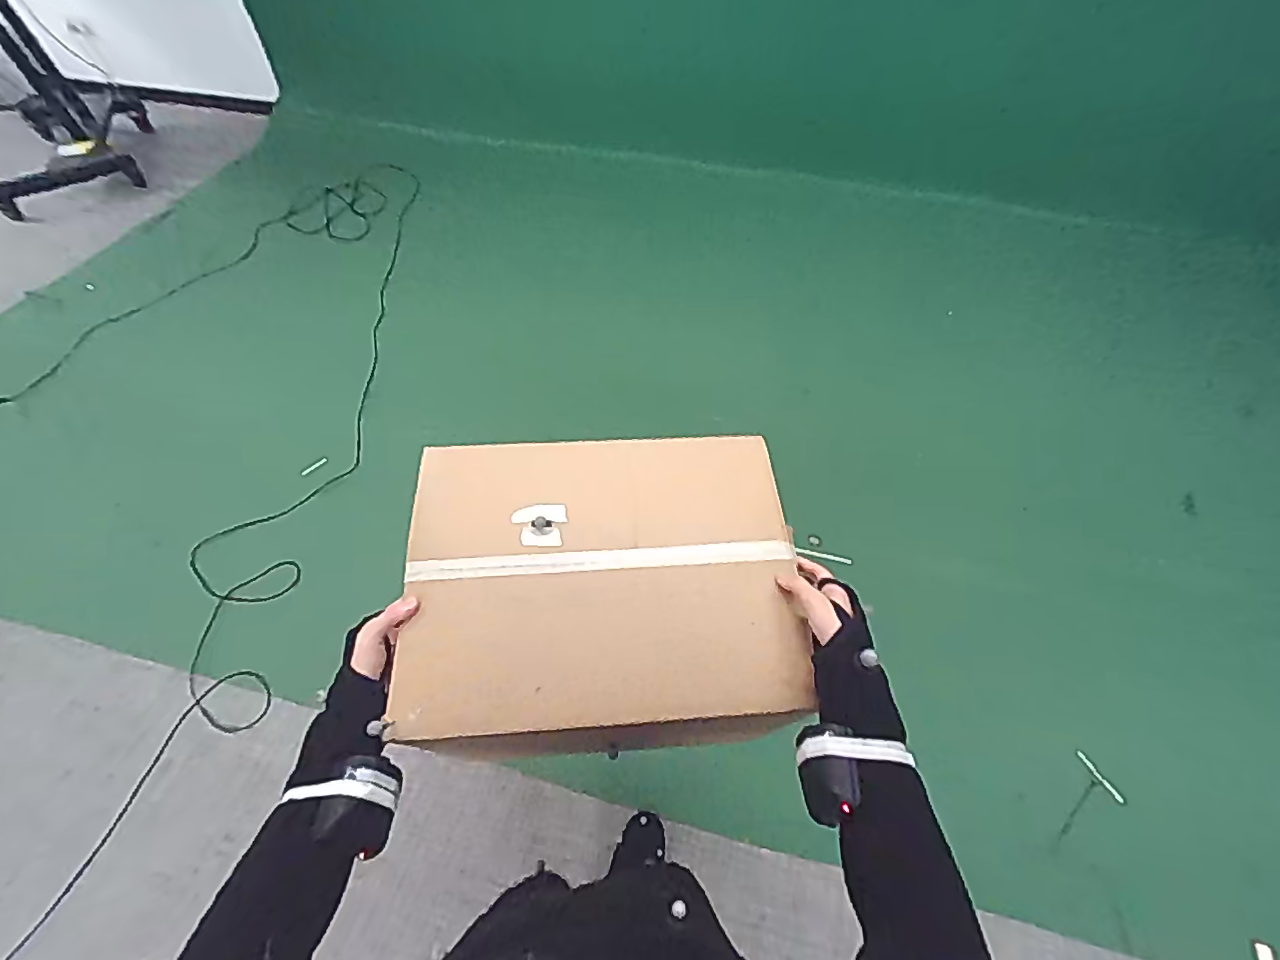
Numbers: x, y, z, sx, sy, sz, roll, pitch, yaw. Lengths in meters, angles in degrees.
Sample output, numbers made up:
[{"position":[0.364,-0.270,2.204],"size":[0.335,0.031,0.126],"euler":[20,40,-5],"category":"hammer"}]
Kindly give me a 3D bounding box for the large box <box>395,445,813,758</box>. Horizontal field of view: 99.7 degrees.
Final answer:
[{"position":[-0.043,0.174,0.710],"size":[0.408,0.320,0.320],"euler":[-3,60,-3],"category":"large box"}]
